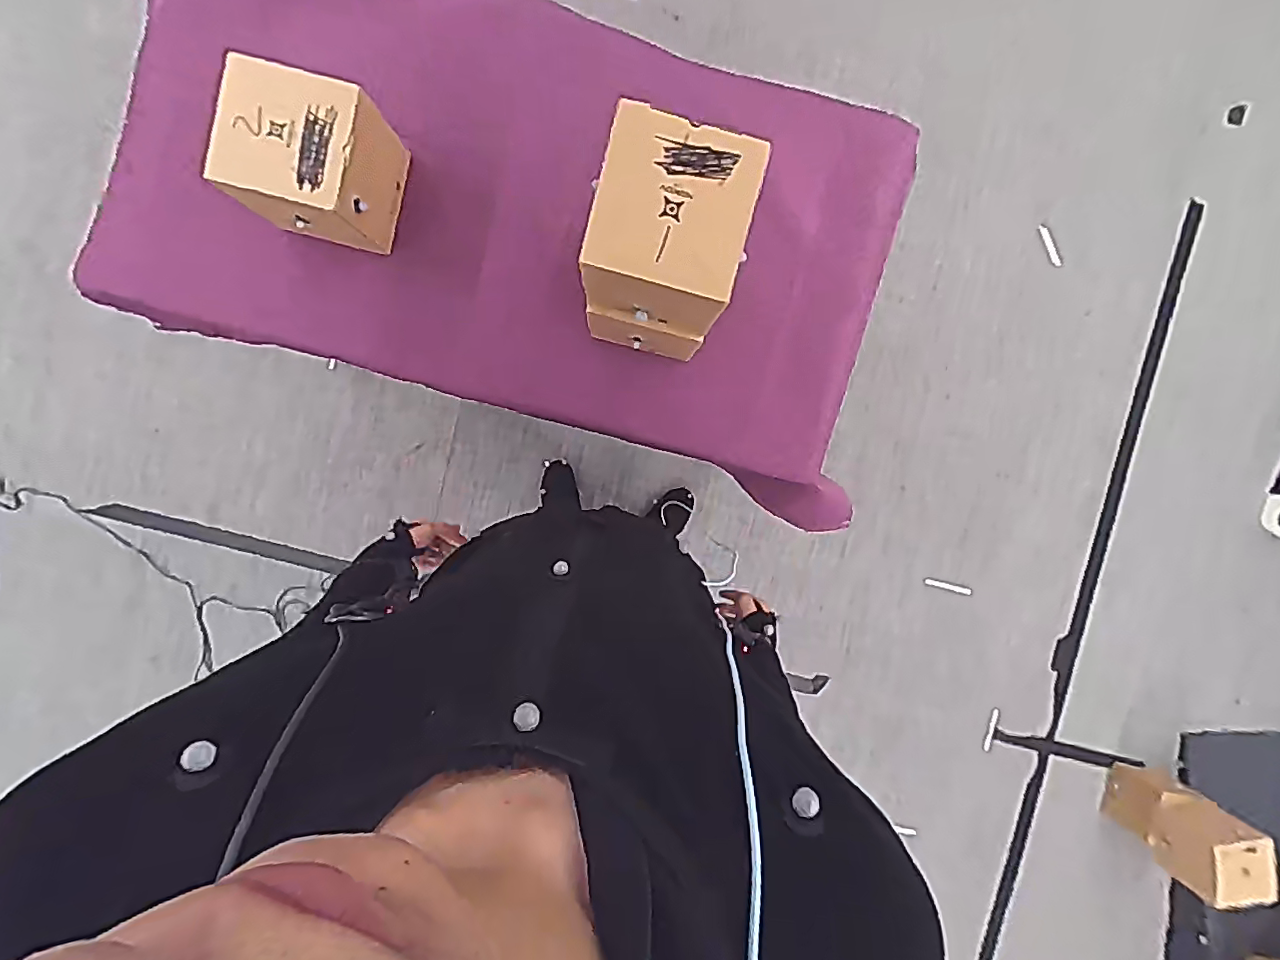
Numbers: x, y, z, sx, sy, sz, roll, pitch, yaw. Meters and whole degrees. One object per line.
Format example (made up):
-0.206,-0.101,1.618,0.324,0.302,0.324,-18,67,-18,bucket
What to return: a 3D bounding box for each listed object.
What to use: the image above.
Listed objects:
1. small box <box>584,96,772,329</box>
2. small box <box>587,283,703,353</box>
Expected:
0.036,-0.301,0.649,0.168,0.176,0.179,15,93,-3,small box
0.026,-0.303,0.813,0.168,0.176,0.179,15,93,-4,small box
